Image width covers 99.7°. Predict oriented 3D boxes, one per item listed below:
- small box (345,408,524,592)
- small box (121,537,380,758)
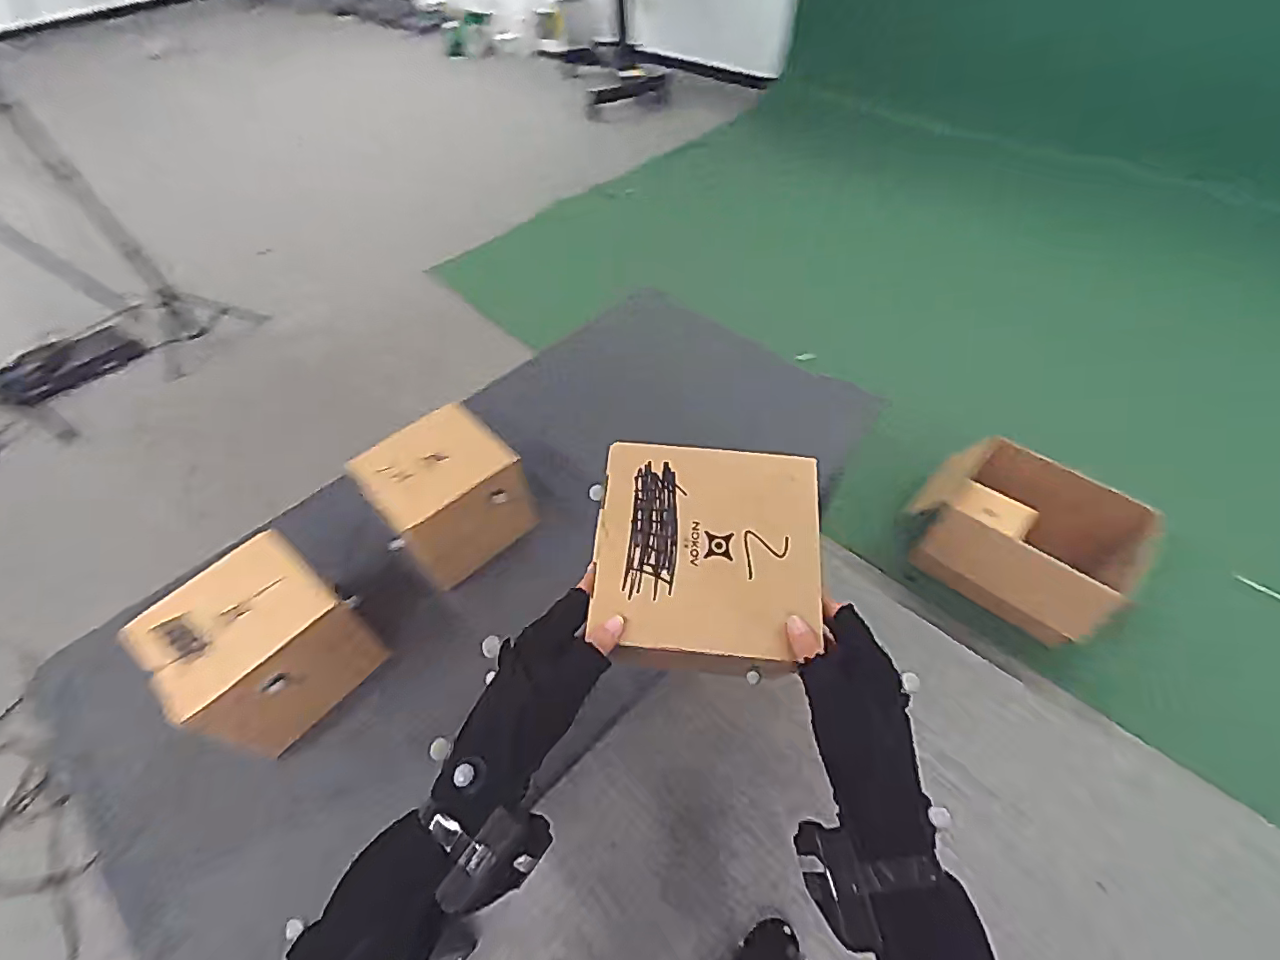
[{"bbox_3d":[-0.293,0.031,0.813,0.179,0.176,0.168,-39,59,-24],"label":"small box"},{"bbox_3d":[-0.471,0.214,0.680,0.168,0.176,0.179,33,59,24],"label":"small box"}]
